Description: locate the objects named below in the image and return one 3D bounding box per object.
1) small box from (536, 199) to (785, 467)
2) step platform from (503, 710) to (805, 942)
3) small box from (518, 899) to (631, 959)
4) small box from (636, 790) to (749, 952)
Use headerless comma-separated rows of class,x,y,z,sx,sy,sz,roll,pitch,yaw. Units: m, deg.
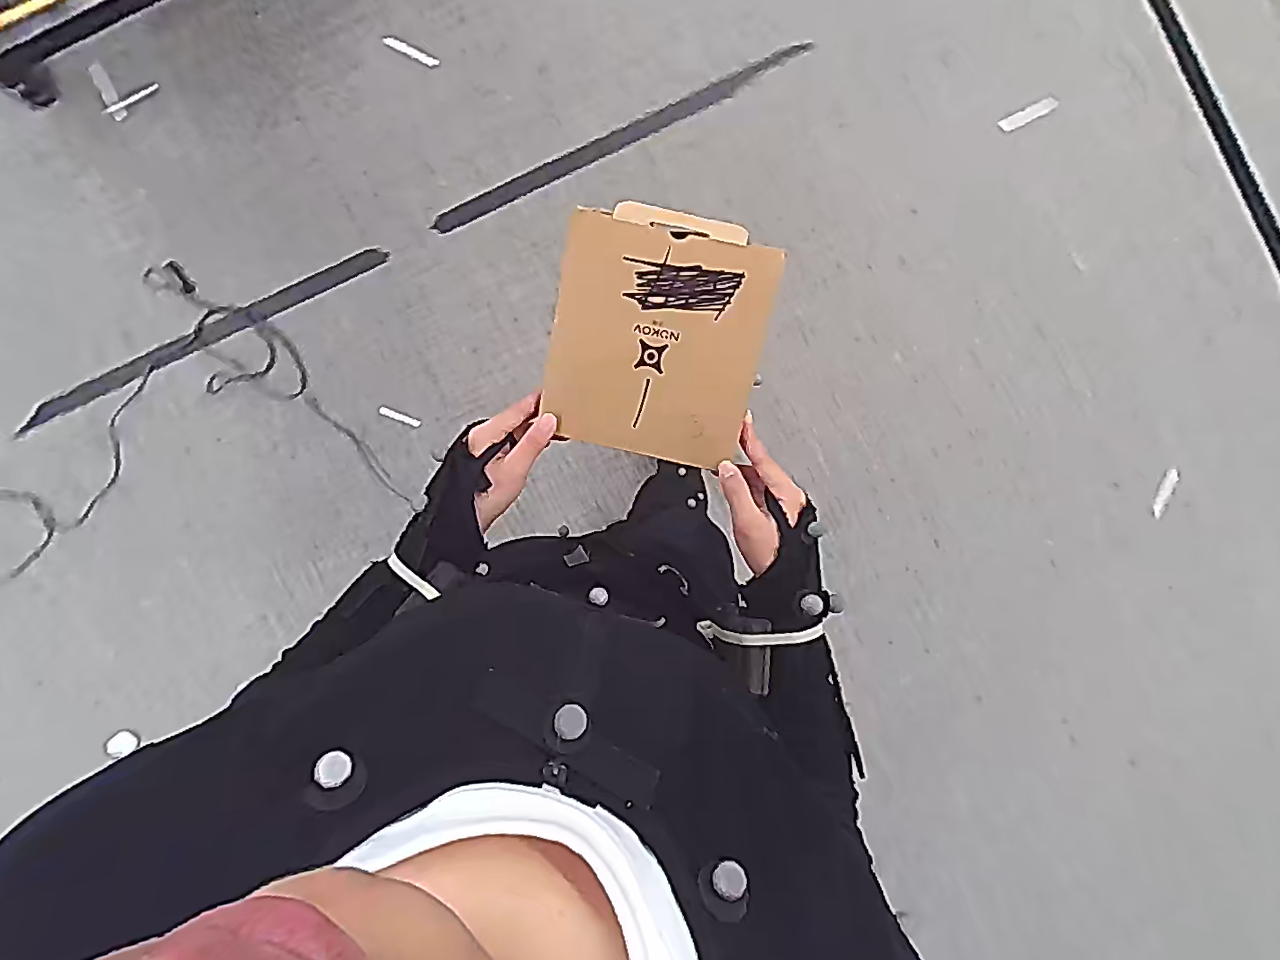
small box,0.017,-0.126,0.495,0.168,0.176,0.179,12,103,2
step platform,0.030,0.833,1.272,0.684,0.204,0.286,-26,91,-1
small box,-0.111,0.884,0.934,0.179,0.176,0.168,-23,91,0
small box,0.100,0.782,1.099,0.168,0.176,0.179,-24,91,-1
